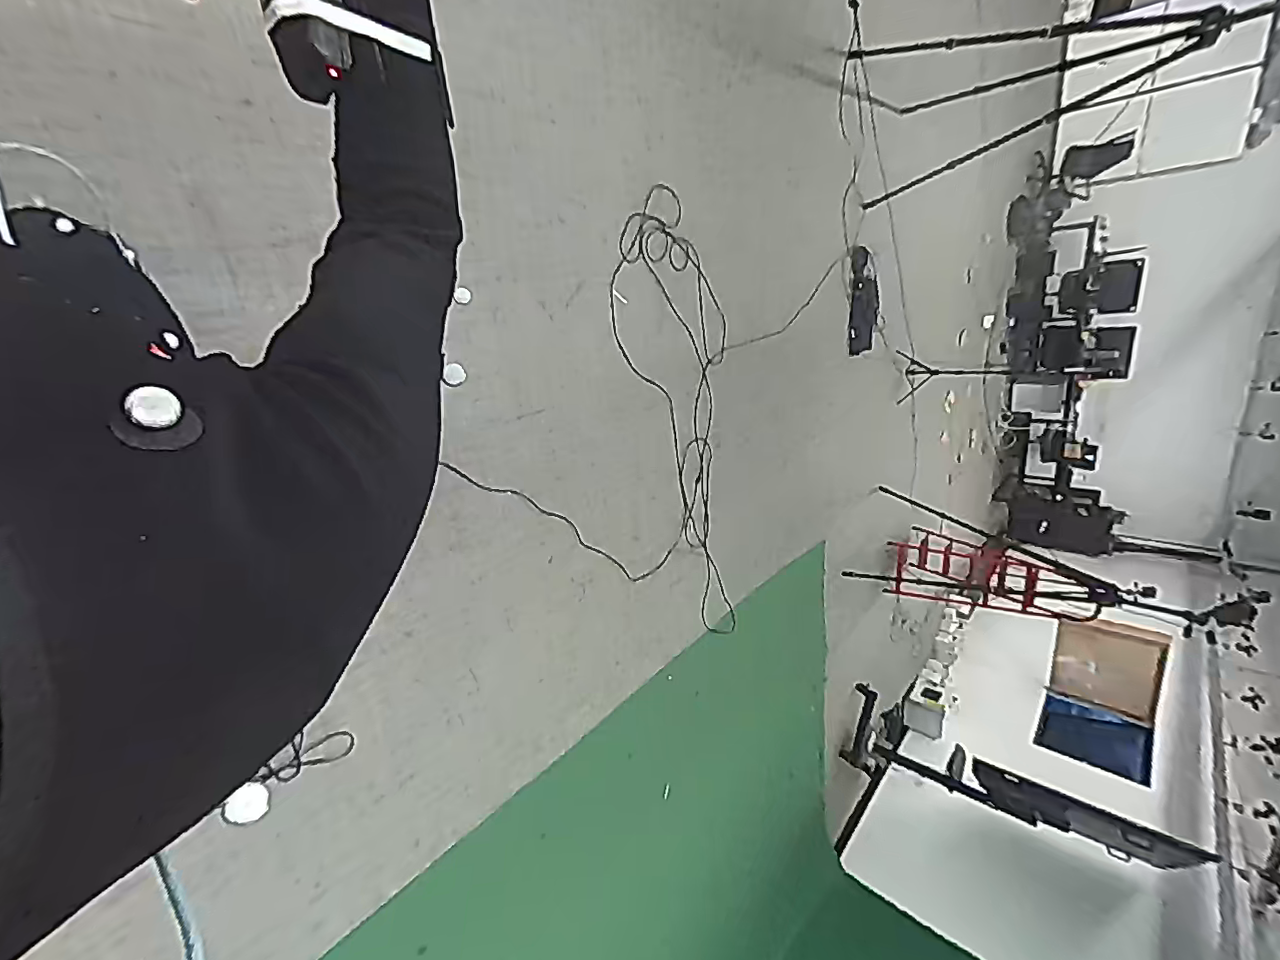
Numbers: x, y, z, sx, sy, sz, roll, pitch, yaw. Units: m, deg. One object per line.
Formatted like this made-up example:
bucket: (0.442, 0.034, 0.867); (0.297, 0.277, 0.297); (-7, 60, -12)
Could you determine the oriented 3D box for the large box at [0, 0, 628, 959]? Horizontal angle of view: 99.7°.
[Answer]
large box: (-0.196, 0.034, 0.308); (0.320, 0.320, 0.408); (7, 62, -15)
